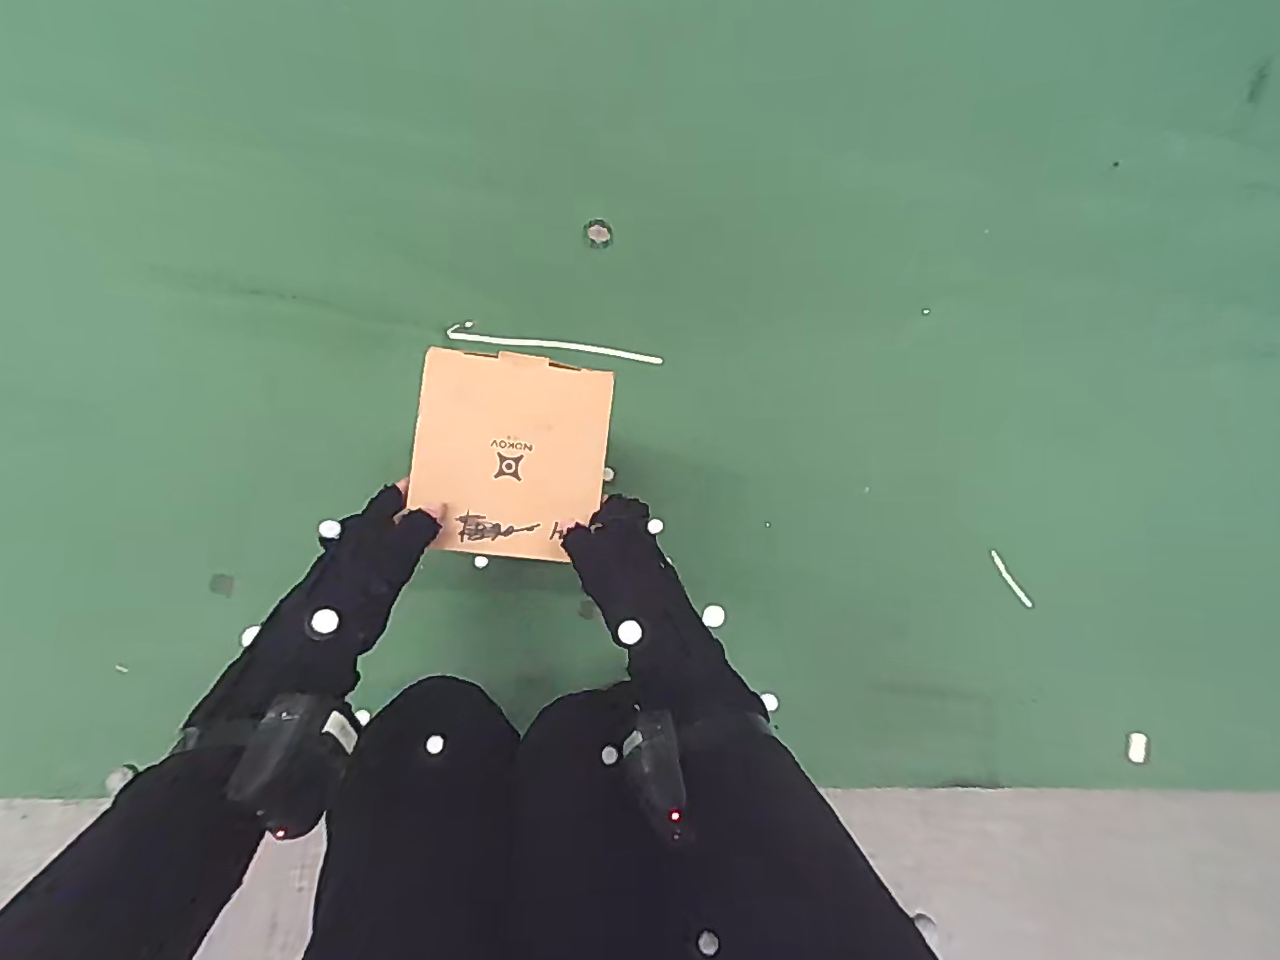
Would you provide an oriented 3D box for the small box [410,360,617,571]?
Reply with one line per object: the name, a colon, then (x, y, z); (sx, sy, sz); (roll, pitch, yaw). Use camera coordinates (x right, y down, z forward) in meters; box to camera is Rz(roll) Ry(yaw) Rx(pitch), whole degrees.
small box: (-0.120, -0.007, 0.560); (0.168, 0.176, 0.179); (6, 85, -6)
